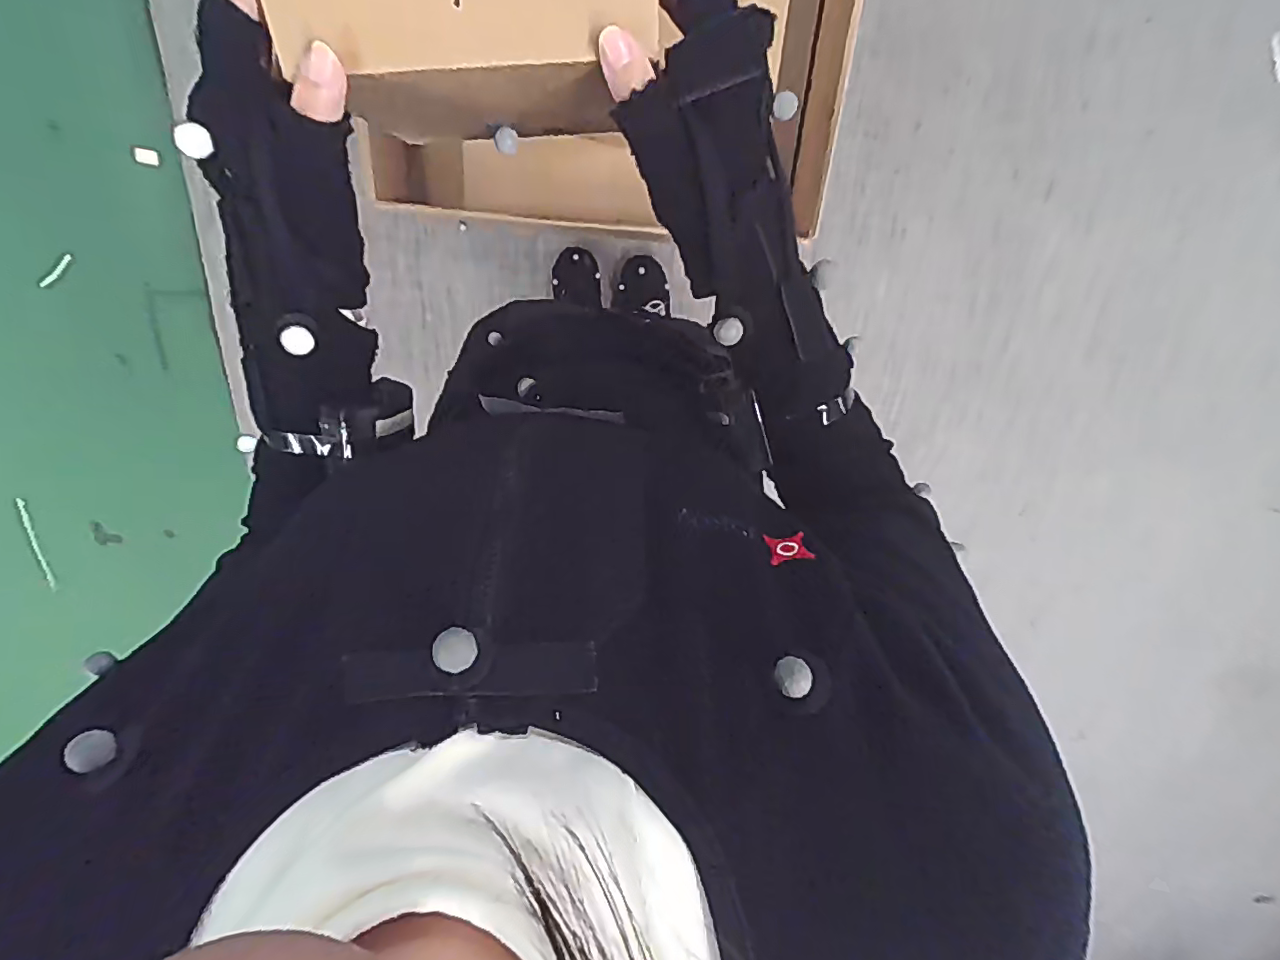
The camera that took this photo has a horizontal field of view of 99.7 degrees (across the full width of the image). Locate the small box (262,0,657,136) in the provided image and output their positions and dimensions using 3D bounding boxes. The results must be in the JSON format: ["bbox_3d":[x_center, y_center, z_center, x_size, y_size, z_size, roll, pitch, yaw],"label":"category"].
[{"bbox_3d":[-0.082,-0.294,0.272,0.168,0.176,0.179,-4,114,-1],"label":"small box"}]
